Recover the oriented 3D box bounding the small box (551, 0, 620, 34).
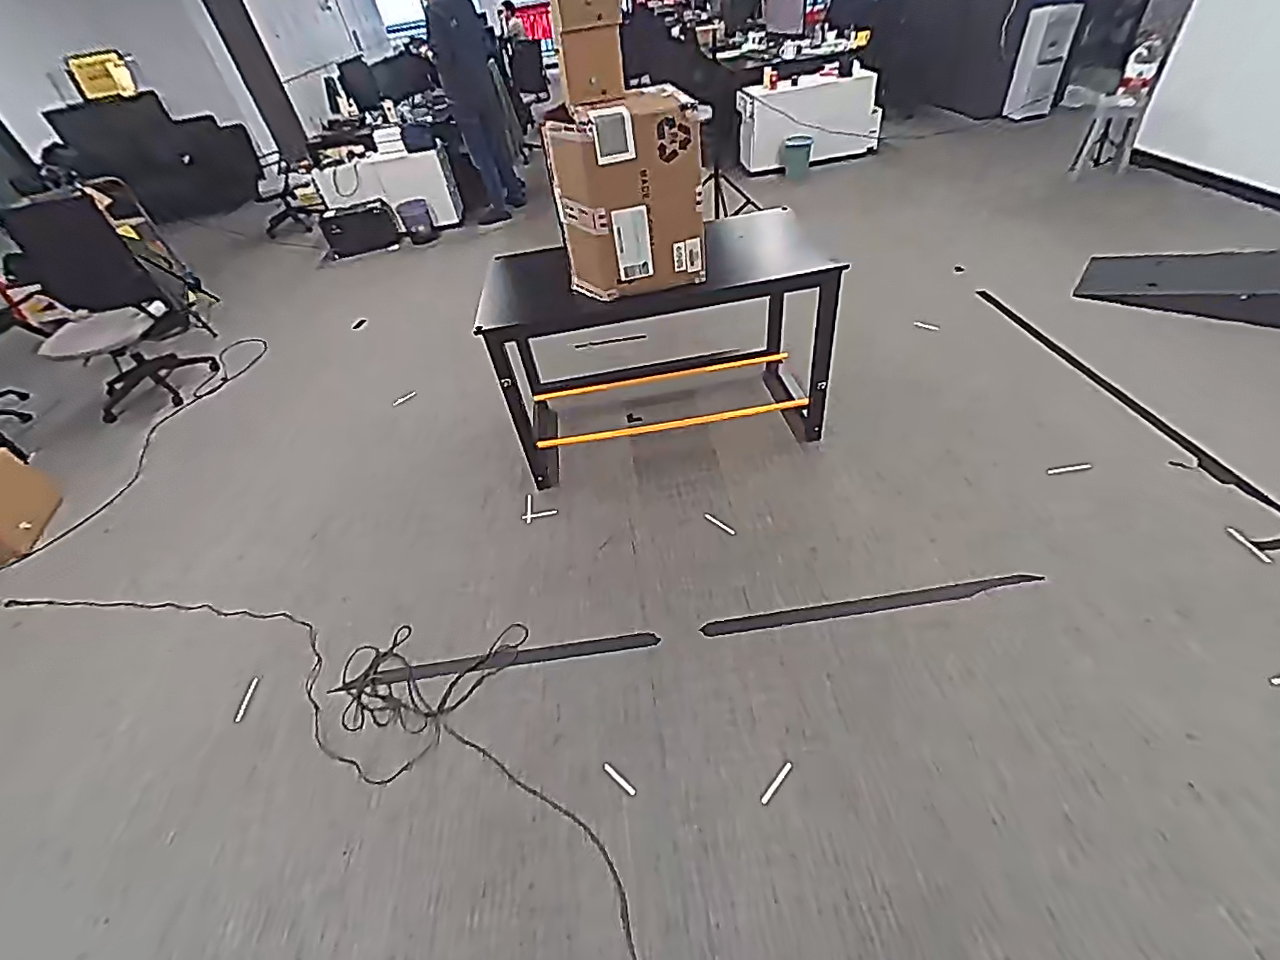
[{"bbox_3d":[-0.156,-1.324,1.464,0.168,0.176,0.179,-14,42,-6],"label":"small box"}]

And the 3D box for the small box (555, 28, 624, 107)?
[{"bbox_3d":[-0.147,-1.205,1.579,0.168,0.176,0.179,-12,42,-5],"label":"small box"}]
